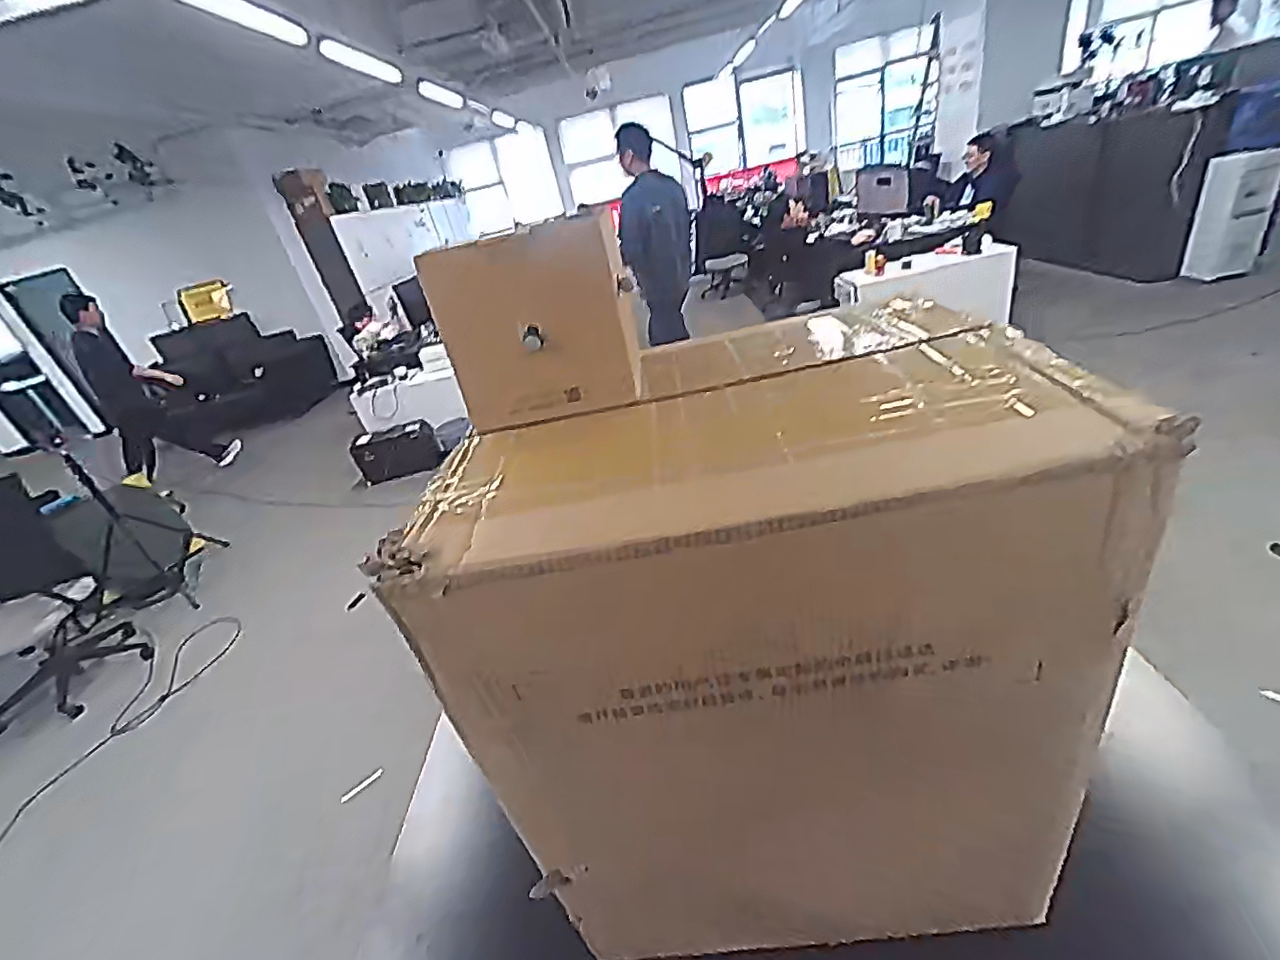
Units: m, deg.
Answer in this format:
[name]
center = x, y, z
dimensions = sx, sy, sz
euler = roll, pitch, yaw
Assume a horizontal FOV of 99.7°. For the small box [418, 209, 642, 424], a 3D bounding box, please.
[small box]
center = -0.092, -0.166, 0.556
dimensions = 0.168, 0.176, 0.179
euler = -10, 27, 5
